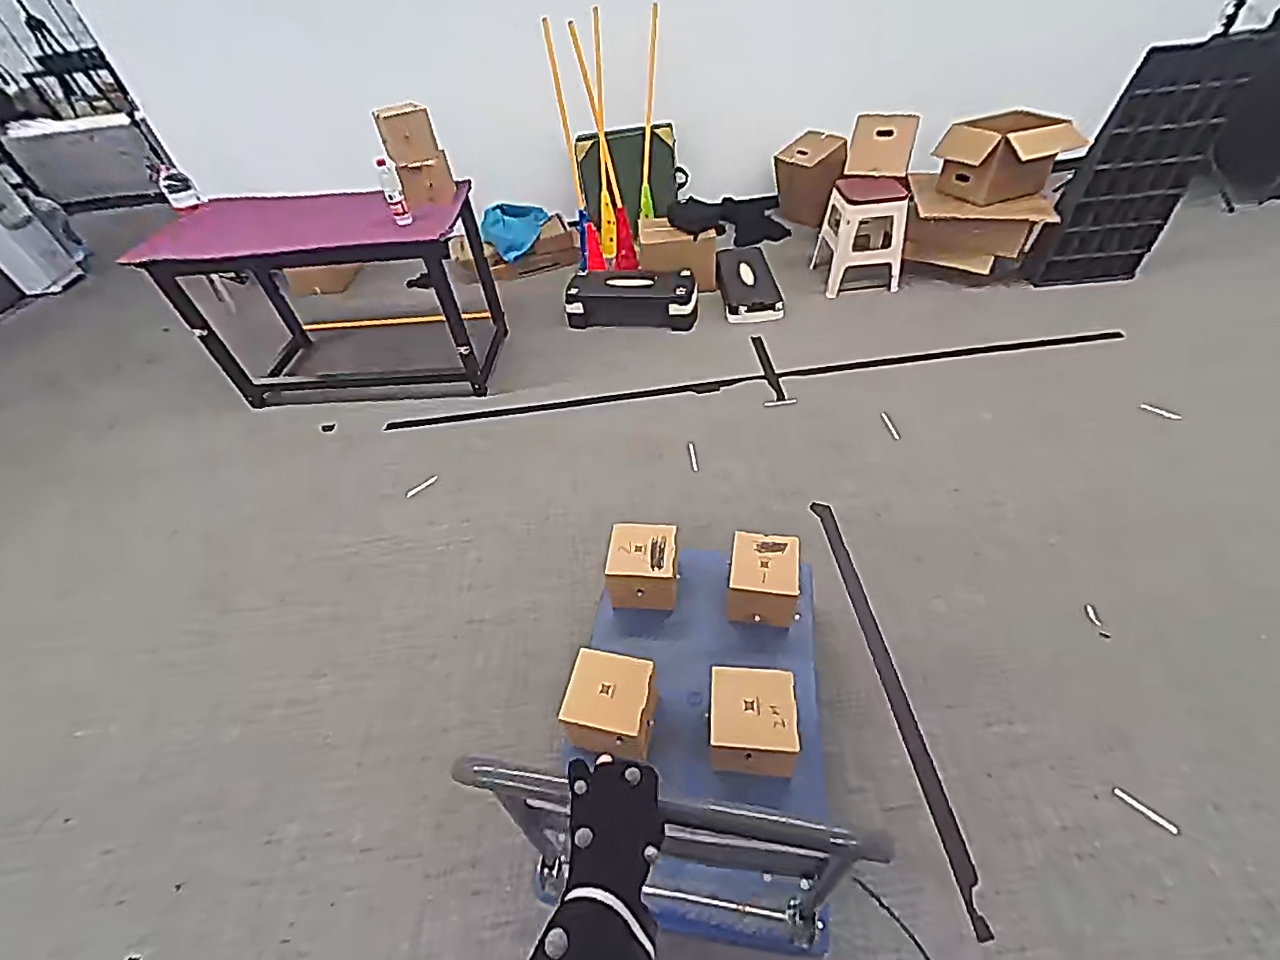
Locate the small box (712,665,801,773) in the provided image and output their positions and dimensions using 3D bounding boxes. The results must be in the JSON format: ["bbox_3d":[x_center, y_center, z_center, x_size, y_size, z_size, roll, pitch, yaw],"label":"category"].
[{"bbox_3d":[0.247,0.520,1.174,0.179,0.176,0.168,1,47,8],"label":"small box"}]

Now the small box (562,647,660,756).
[{"bbox_3d":[-0.058,0.505,1.227,0.179,0.176,0.168,7,48,12],"label":"small box"}]

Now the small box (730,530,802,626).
[{"bbox_3d":[0.326,0.255,1.413,0.168,0.176,0.179,5,49,12],"label":"small box"}]
